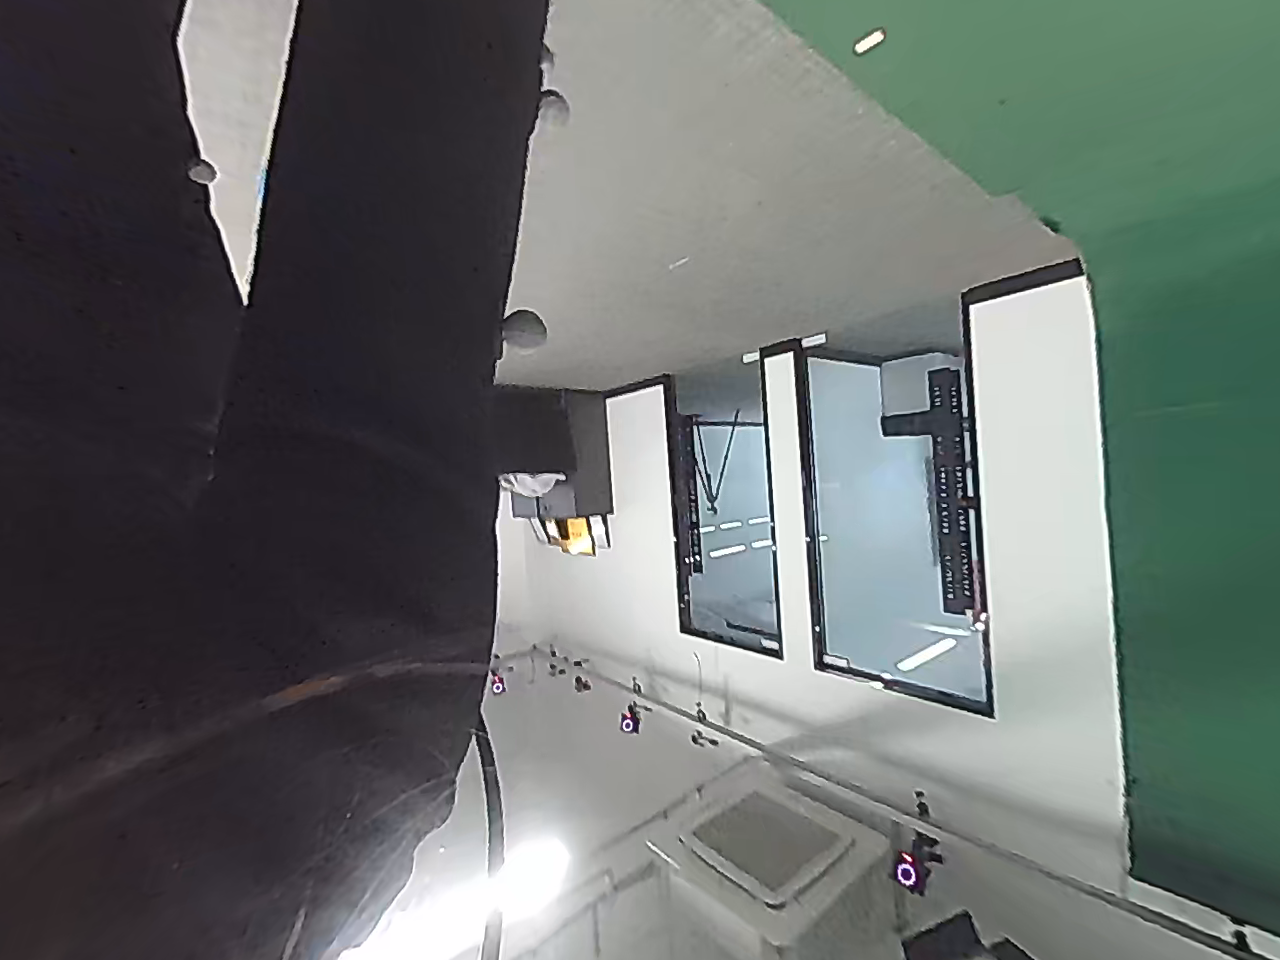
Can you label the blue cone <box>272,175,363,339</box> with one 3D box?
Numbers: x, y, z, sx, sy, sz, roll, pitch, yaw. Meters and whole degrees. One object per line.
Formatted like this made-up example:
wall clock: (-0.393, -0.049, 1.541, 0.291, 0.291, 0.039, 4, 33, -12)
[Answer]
blue cone: (-0.813, -0.554, 1.384, 0.192, 0.380, 0.193, -5, -179, -40)
